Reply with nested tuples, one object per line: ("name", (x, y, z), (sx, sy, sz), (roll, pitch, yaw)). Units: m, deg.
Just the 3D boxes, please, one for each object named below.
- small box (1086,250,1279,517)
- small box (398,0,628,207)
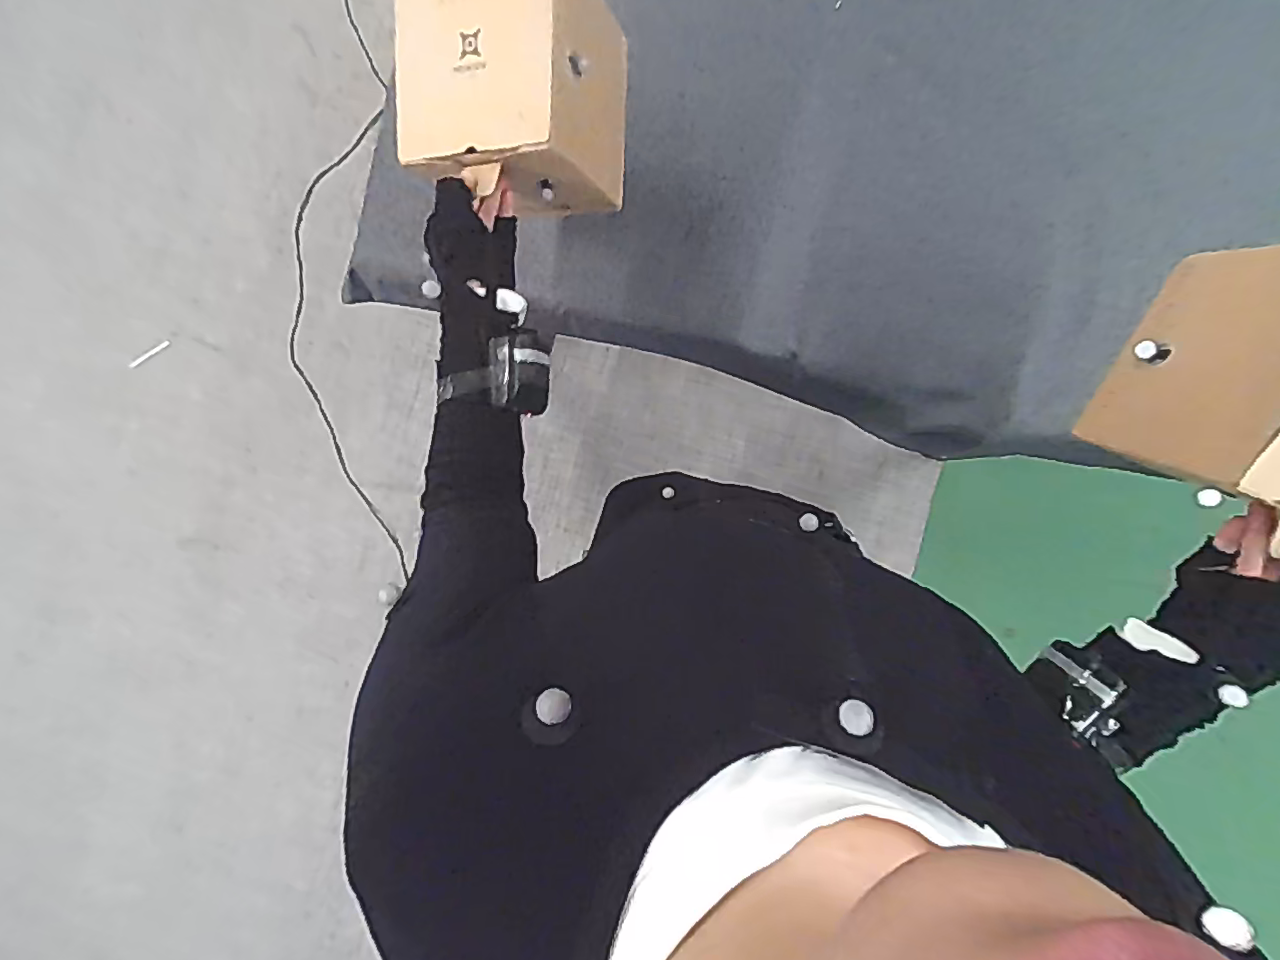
("small box", (0.516, -0.067, 0.429), (0.168, 0.176, 0.179), (20, 109, -3))
("small box", (-0.117, -0.393, 0.546), (0.168, 0.176, 0.179), (5, 98, 18))
